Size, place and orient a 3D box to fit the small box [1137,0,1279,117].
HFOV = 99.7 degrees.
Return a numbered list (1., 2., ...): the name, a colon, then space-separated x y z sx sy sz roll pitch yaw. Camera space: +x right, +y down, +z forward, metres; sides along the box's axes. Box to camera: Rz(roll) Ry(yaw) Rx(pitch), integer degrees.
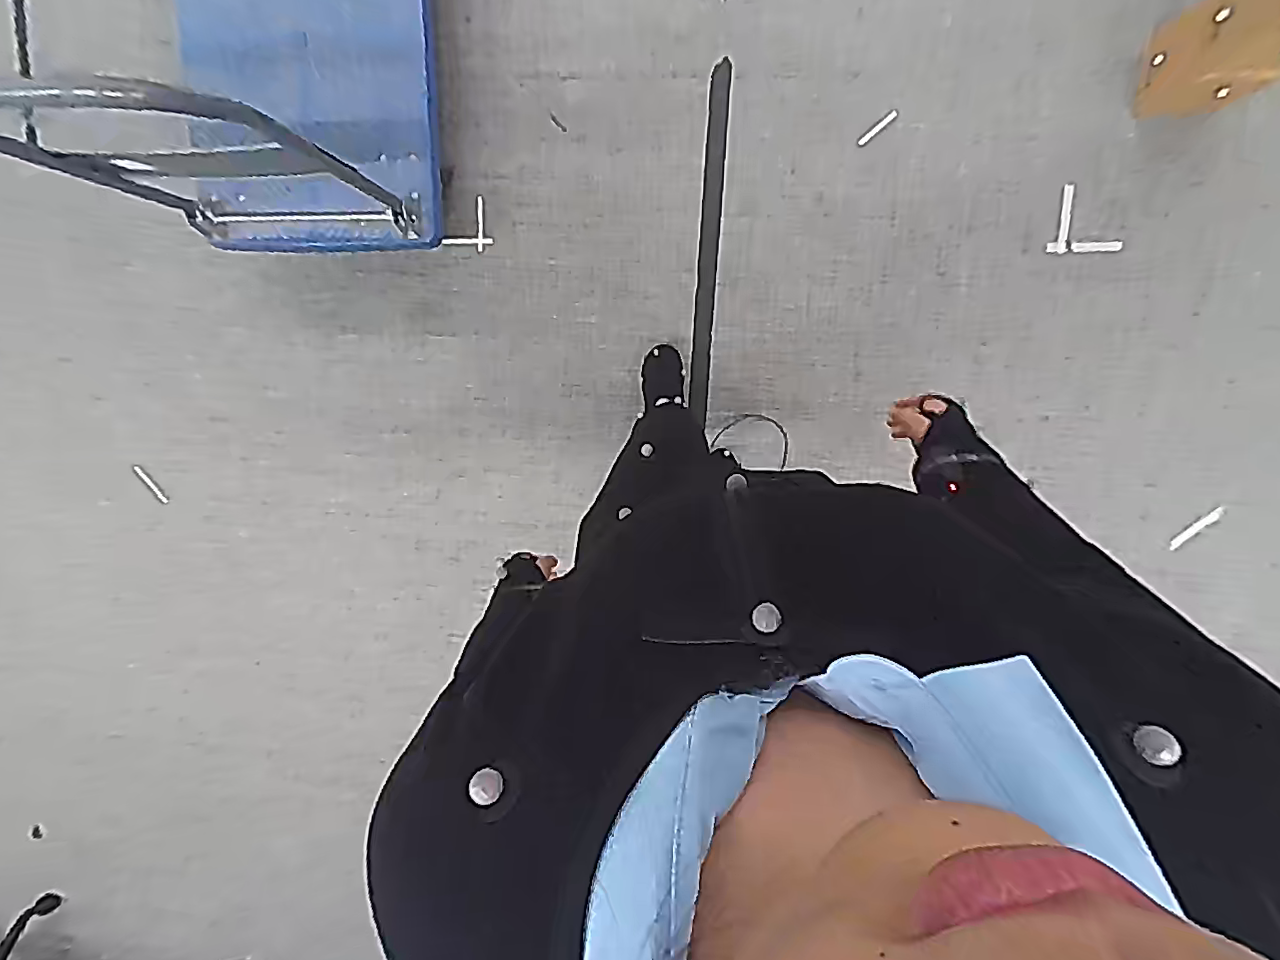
1. small box: 1.255 -0.922 1.179 0.179 0.176 0.168 1 99 5
